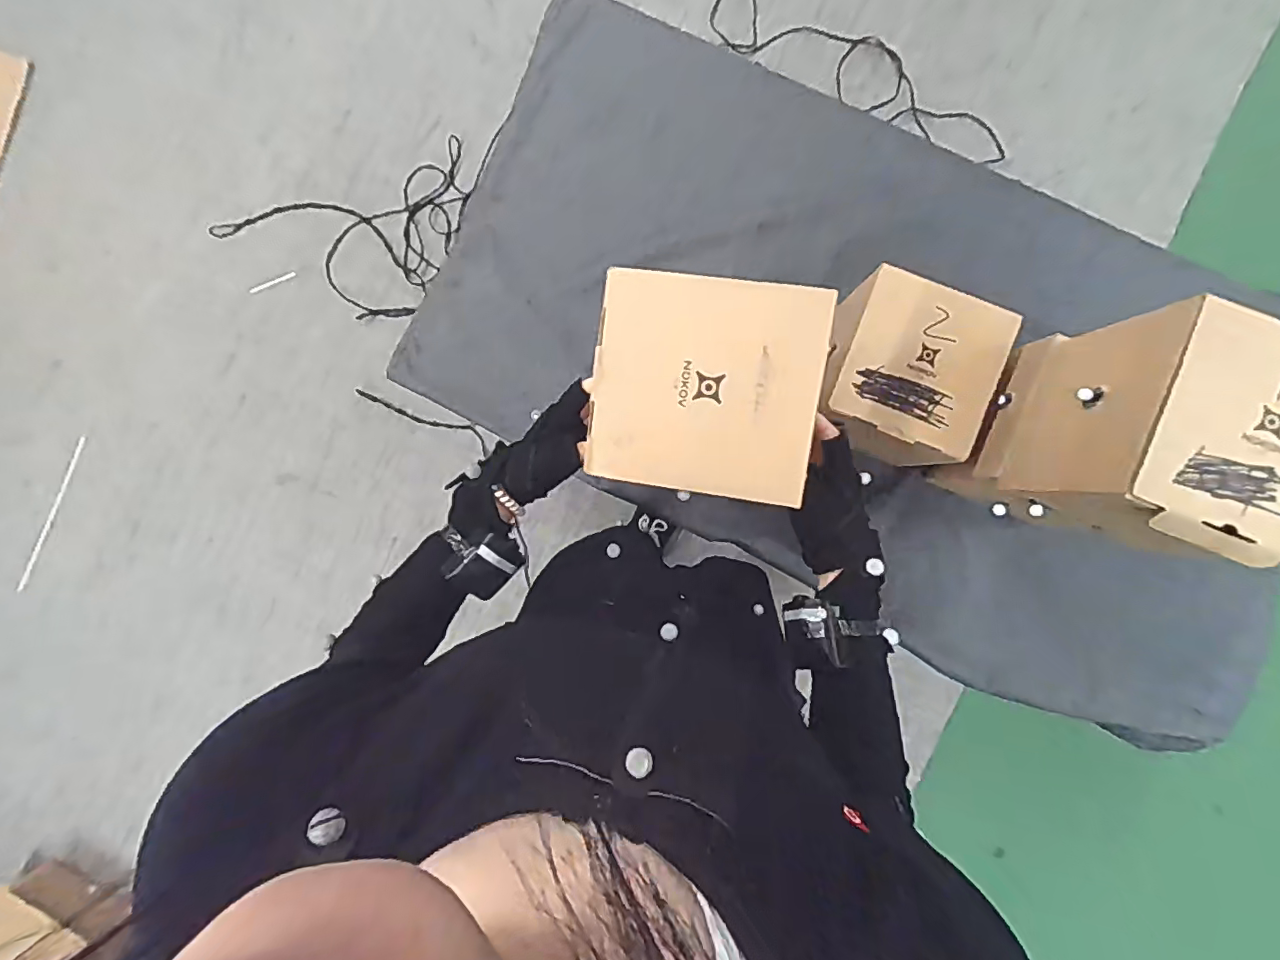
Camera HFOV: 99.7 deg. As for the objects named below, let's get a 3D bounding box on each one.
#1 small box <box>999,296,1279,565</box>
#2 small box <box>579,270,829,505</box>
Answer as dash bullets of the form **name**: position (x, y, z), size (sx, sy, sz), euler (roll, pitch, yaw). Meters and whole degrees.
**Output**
- **small box**: position (0.488, -0.038, 0.514), size (0.168, 0.176, 0.179), euler (22, 90, 1)
- **small box**: position (0.058, -0.082, 0.503), size (0.179, 0.176, 0.168), euler (9, 98, 8)
